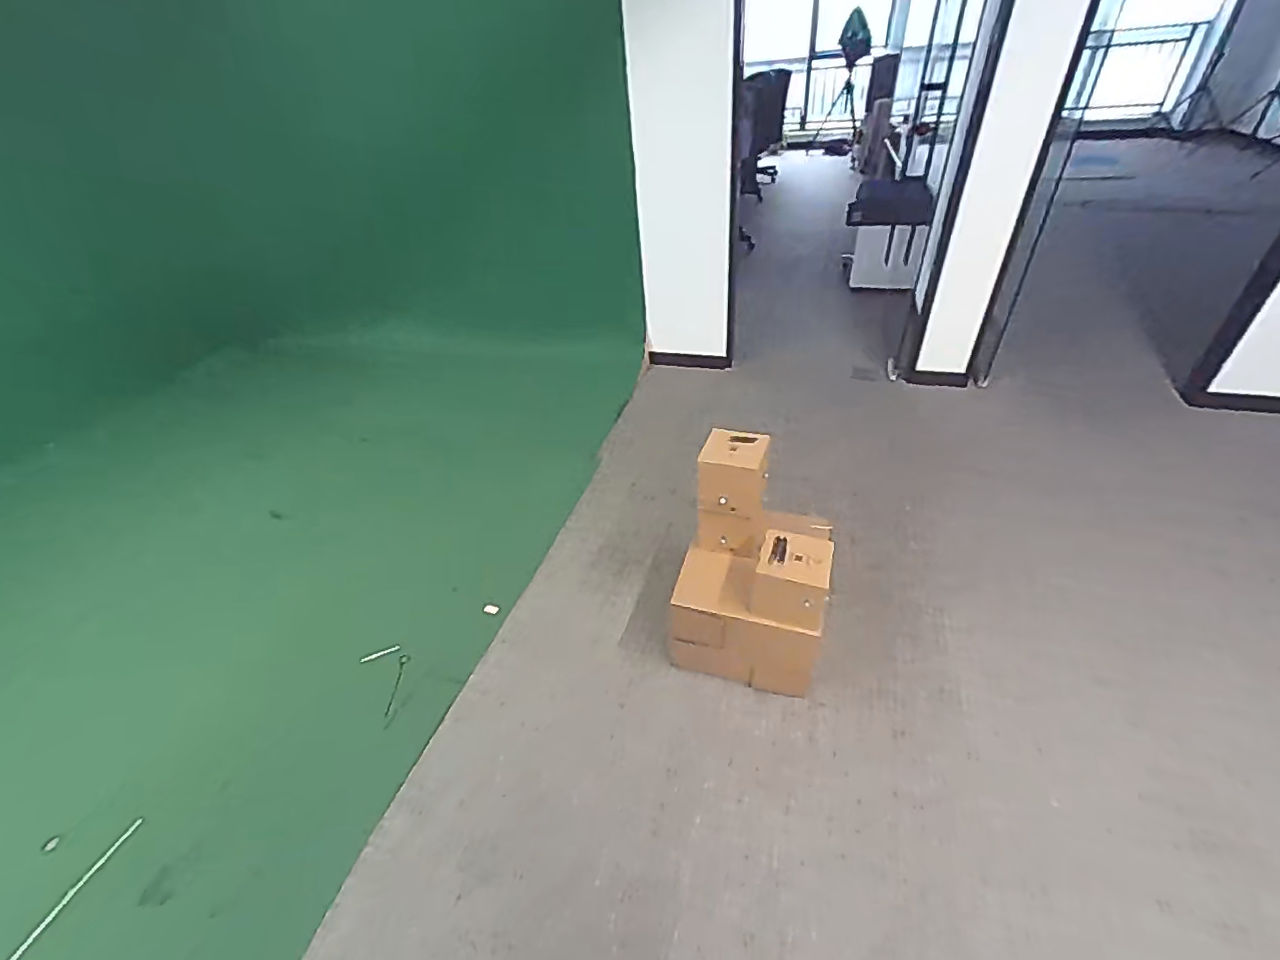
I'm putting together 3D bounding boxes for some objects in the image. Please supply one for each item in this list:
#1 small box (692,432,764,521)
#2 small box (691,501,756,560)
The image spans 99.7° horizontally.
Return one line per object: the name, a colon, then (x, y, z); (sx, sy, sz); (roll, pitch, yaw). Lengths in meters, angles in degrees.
small box: (0.246, -0.011, 1.524); (0.168, 0.176, 0.179); (9, 38, 19)
small box: (0.254, 0.112, 1.634); (0.168, 0.176, 0.179); (8, 37, 18)
